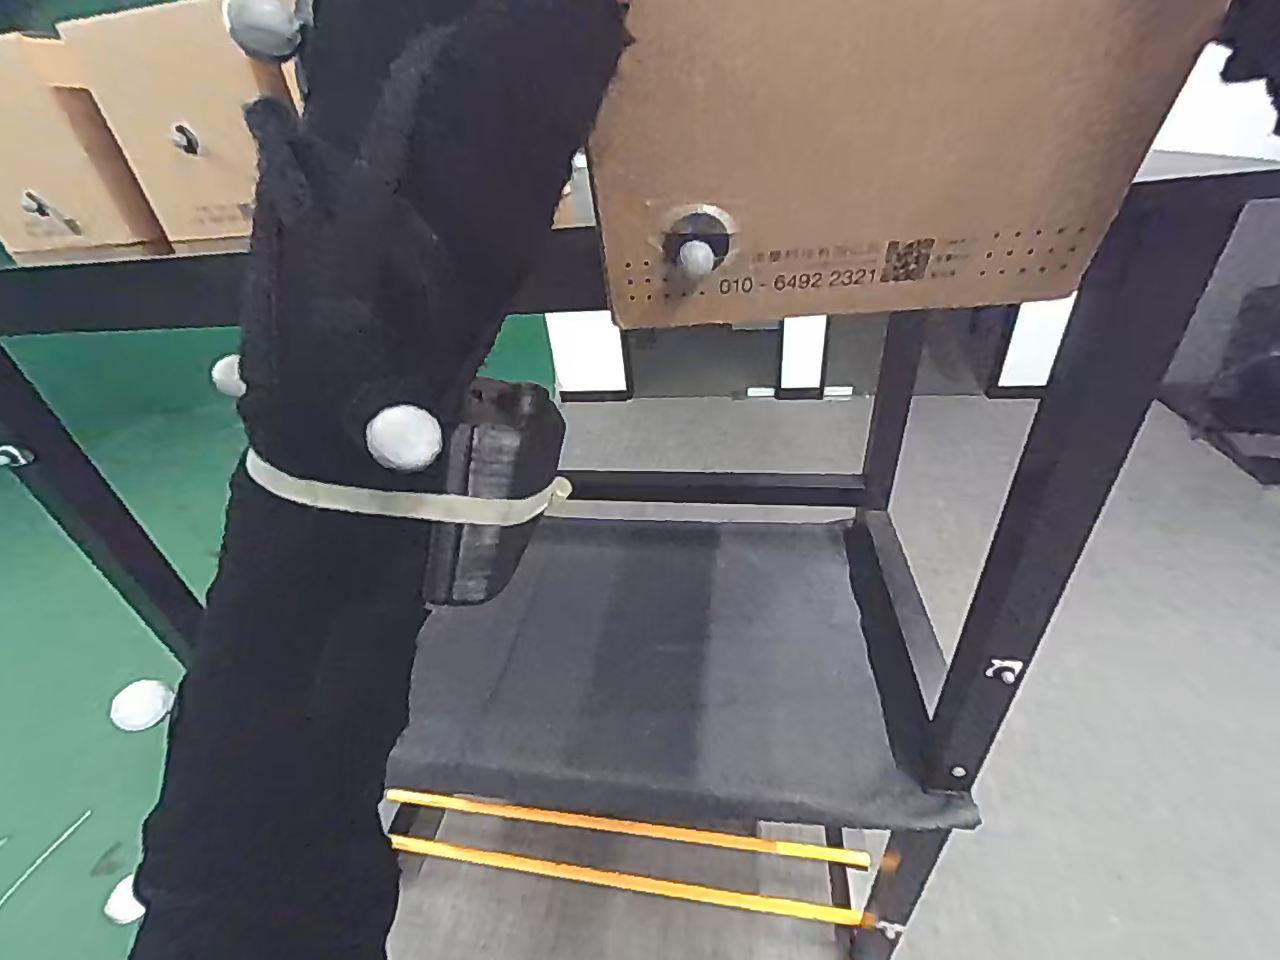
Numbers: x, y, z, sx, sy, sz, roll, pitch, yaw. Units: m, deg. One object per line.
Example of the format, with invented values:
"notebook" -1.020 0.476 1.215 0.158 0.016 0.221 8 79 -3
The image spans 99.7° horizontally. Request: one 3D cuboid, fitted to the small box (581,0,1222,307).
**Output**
"small box" 0.072 -0.175 0.194 0.168 0.176 0.179 -1 47 6
